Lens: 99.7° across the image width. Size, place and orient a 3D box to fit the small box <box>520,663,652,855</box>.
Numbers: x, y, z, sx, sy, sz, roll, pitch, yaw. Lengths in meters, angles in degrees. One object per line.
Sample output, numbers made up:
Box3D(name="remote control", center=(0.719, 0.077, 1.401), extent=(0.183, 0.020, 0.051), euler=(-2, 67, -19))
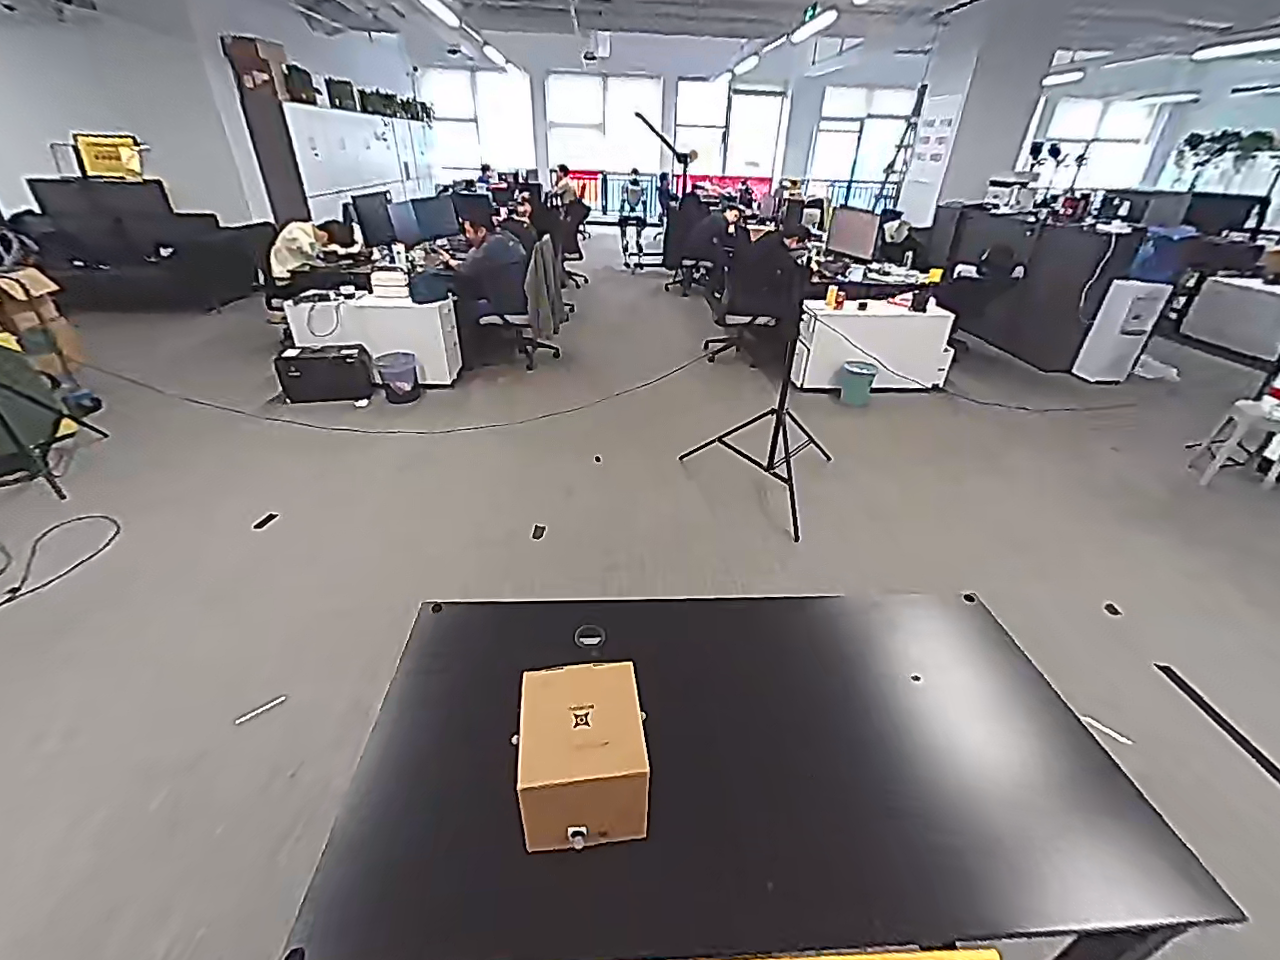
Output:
Box3D(name="small box", center=(-0.080, 0.395, 0.778), extent=(0.168, 0.176, 0.179), euler=(-4, 33, -8))
